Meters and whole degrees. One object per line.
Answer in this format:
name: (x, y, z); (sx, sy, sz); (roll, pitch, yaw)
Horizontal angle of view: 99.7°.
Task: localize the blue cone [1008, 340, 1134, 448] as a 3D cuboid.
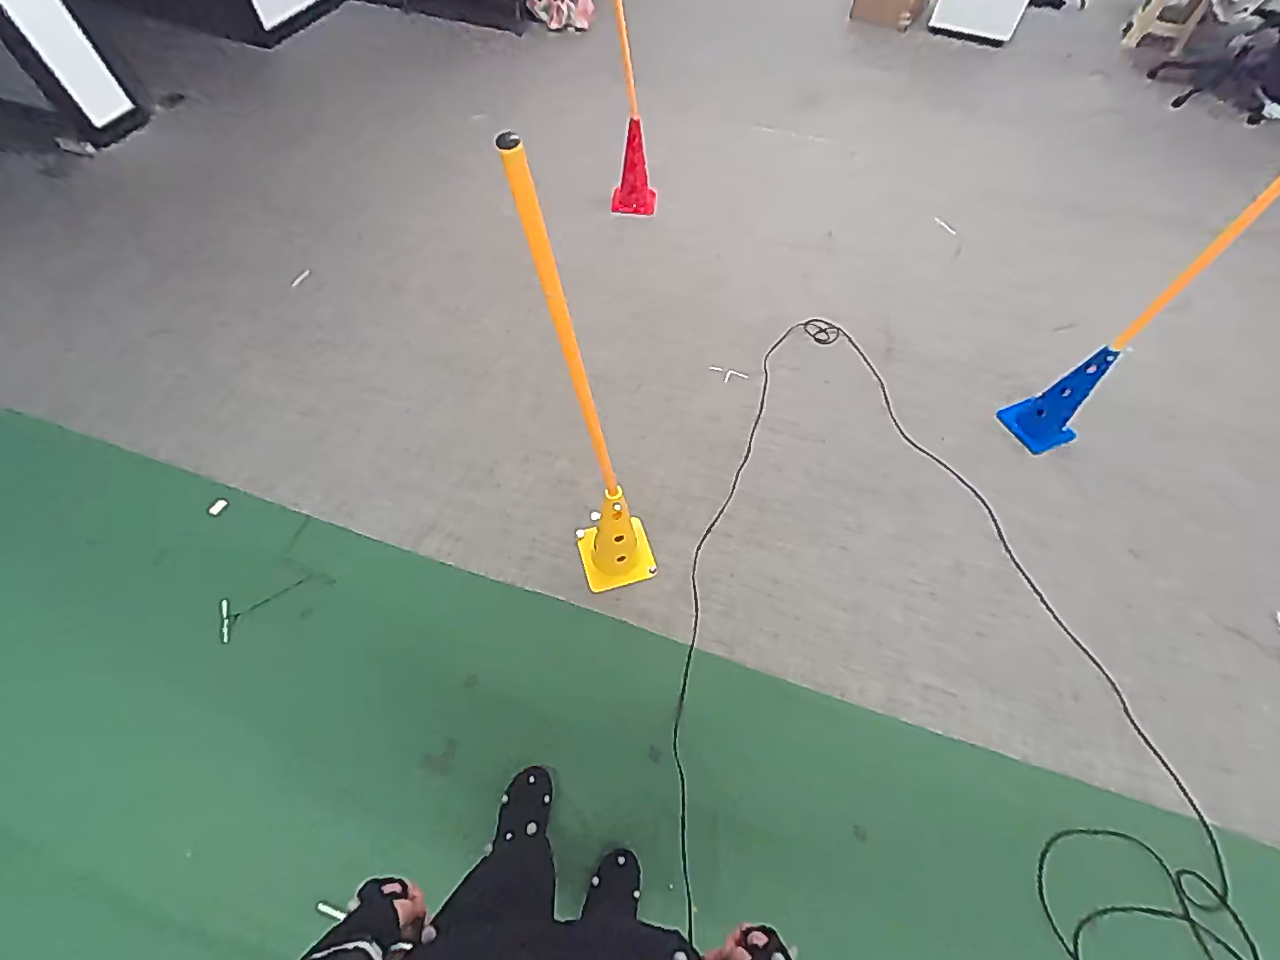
blue cone: (1.376, -0.292, 1.697); (0.193, 0.380, 0.192); (-21, 61, -16)
